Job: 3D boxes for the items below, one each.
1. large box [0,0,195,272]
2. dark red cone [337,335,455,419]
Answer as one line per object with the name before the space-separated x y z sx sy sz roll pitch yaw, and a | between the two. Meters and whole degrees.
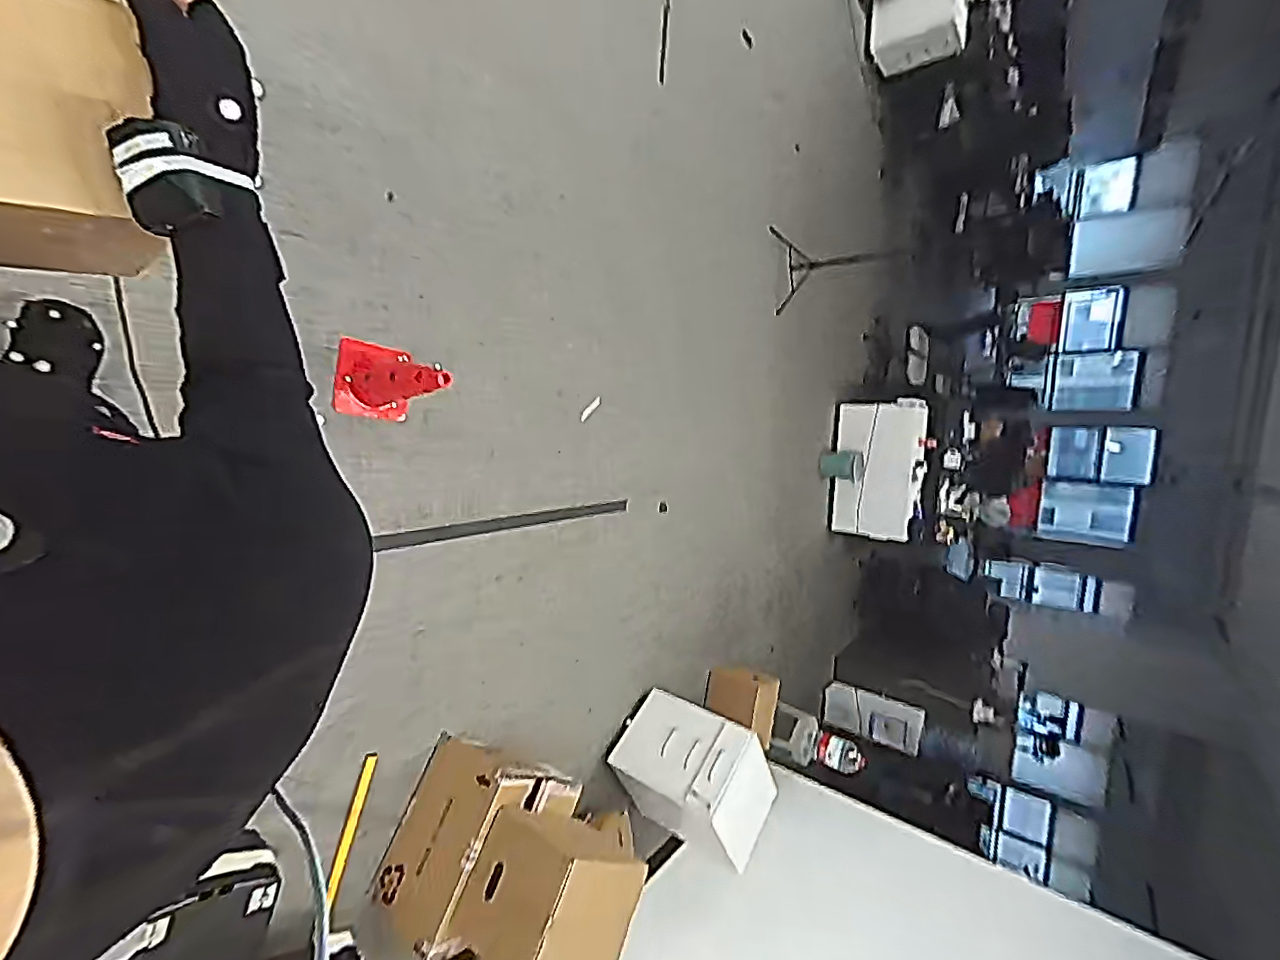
large box | -0.612 -0.342 0.362 0.408 0.320 0.320 -14 107 -49
dark red cone | -0.584 -0.255 1.355 0.201 0.394 0.202 4 92 -50
